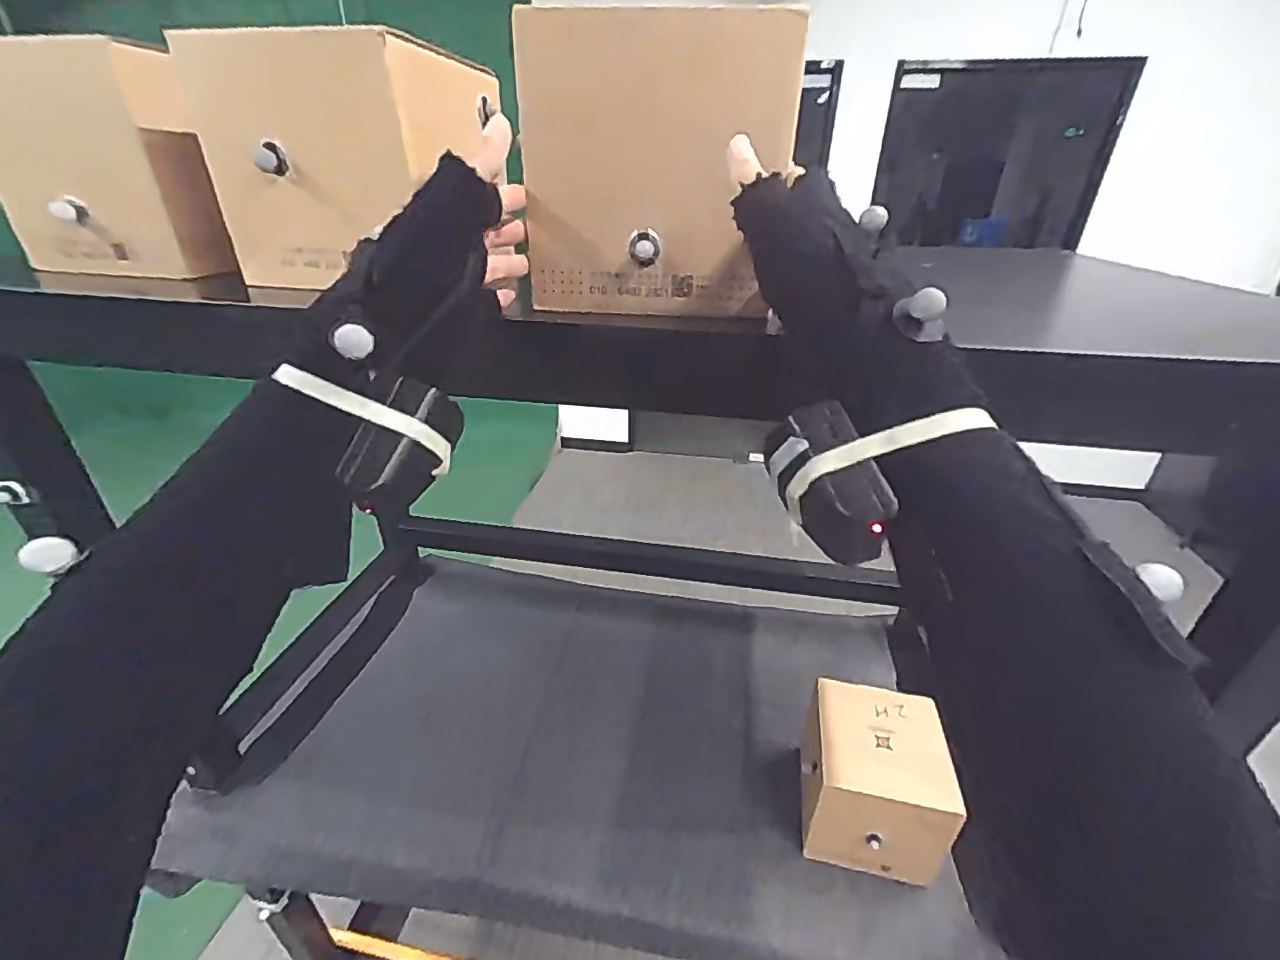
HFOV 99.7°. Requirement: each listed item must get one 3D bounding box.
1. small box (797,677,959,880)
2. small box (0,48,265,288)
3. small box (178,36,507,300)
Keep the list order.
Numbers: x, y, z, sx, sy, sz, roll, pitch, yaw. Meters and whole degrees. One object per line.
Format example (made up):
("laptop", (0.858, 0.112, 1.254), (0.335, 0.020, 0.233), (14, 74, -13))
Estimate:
("small box", (0.321, 0.417, 0.765), (0.168, 0.176, 0.179), (8, 29, 12))
("small box", (-0.446, -0.290, 0.516), (0.168, 0.176, 0.179), (6, 30, 9))
("small box", (-0.227, -0.259, 0.472), (0.168, 0.176, 0.179), (7, 29, 9))
